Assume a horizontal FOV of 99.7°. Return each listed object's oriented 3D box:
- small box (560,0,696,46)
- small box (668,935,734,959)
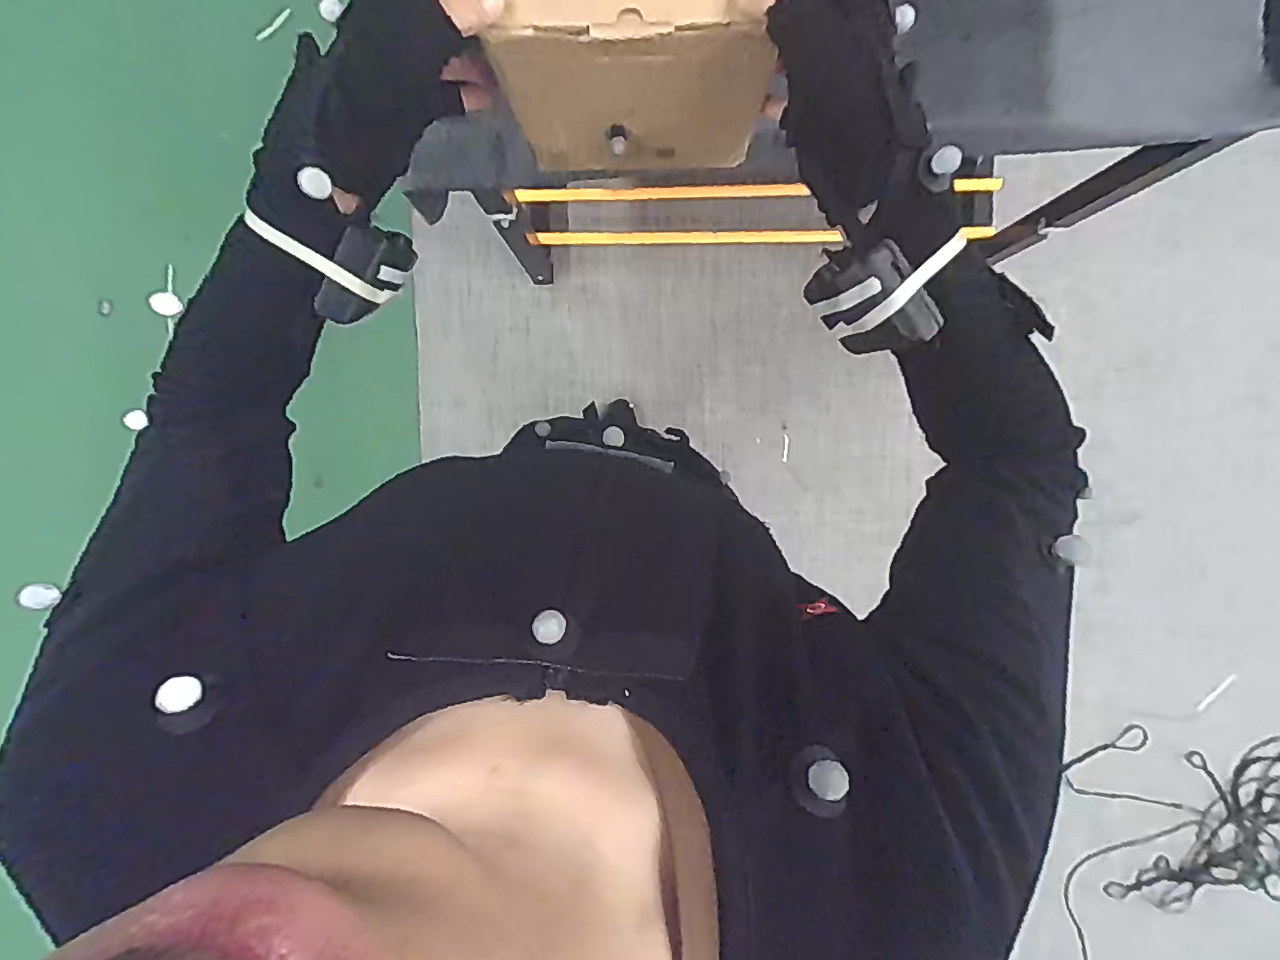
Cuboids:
[{"bbox_3d":[-0.018,-0.647,0.616,0.168,0.176,0.179,-3,94,0],"label":"small box"},{"bbox_3d":[0.166,1.403,1.479,0.179,0.176,0.168,14,93,0],"label":"small box"}]
